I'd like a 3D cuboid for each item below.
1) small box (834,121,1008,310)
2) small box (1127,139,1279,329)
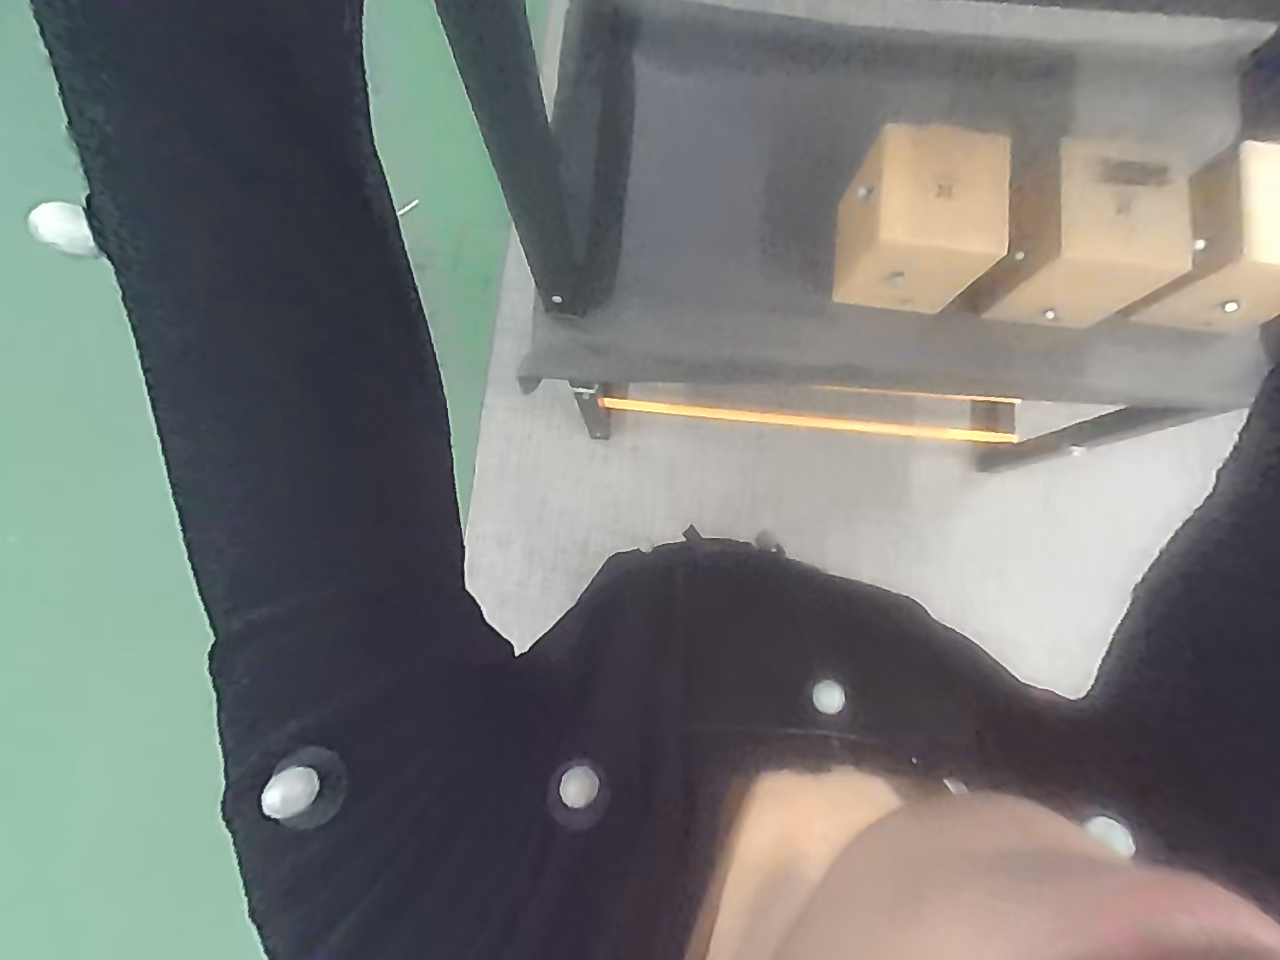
[{"bbox_3d":[0.389,-0.365,0.774,0.168,0.176,0.179,7,80,2],"label":"small box"},{"bbox_3d":[0.841,-0.334,0.765,0.168,0.176,0.179,9,80,1],"label":"small box"}]
